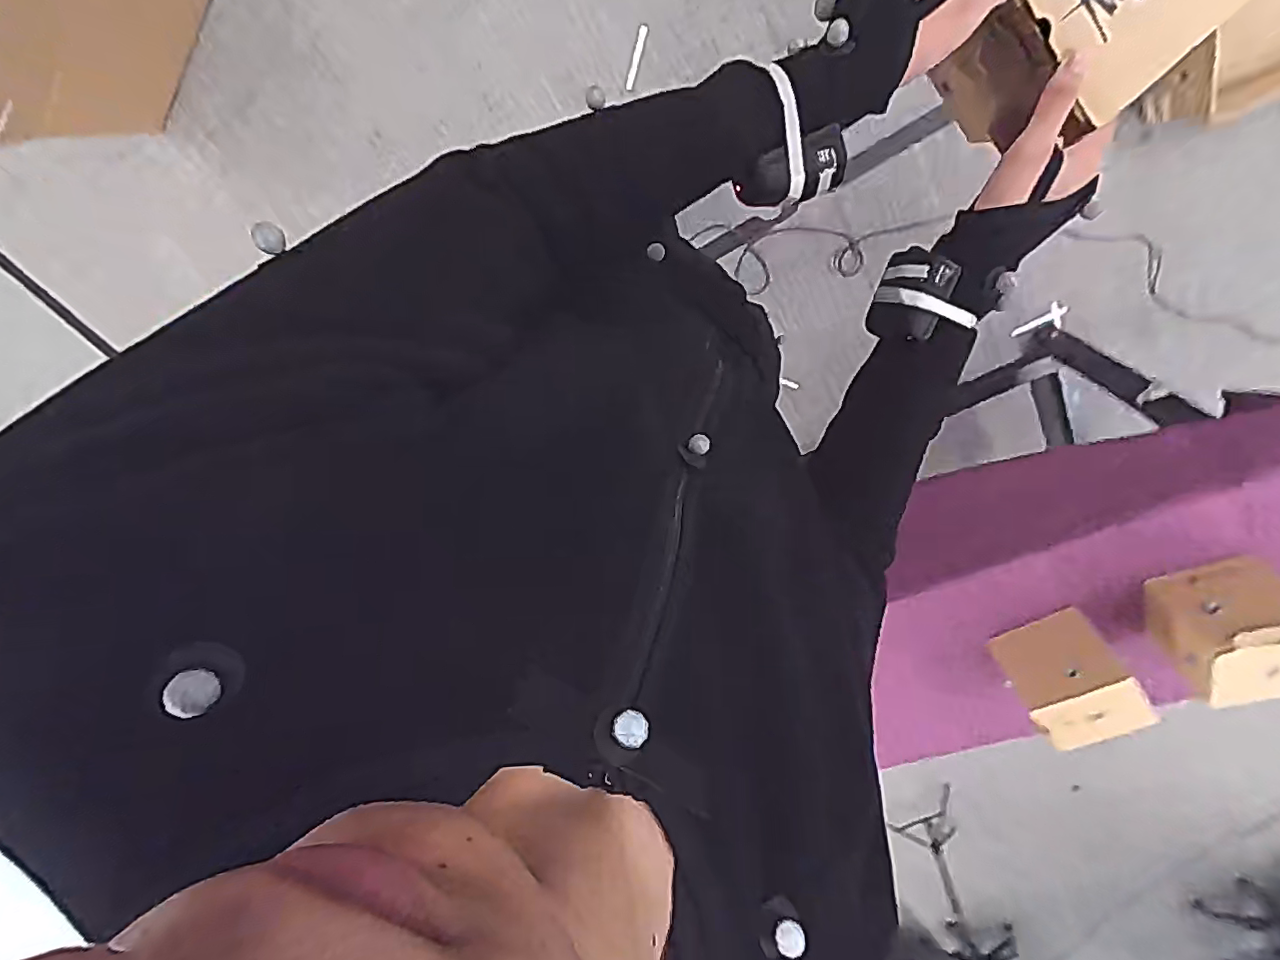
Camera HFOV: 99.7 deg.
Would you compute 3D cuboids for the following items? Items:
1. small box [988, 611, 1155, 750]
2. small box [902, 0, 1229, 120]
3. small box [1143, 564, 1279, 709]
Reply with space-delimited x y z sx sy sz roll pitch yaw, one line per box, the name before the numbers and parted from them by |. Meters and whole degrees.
small box | 0.832 0.387 1.057 0.179 0.176 0.168 -34 115 24
small box | 0.316 -0.395 0.385 0.168 0.176 0.179 38 113 -20
small box | 1.046 0.271 0.963 0.168 0.176 0.179 -21 121 18
